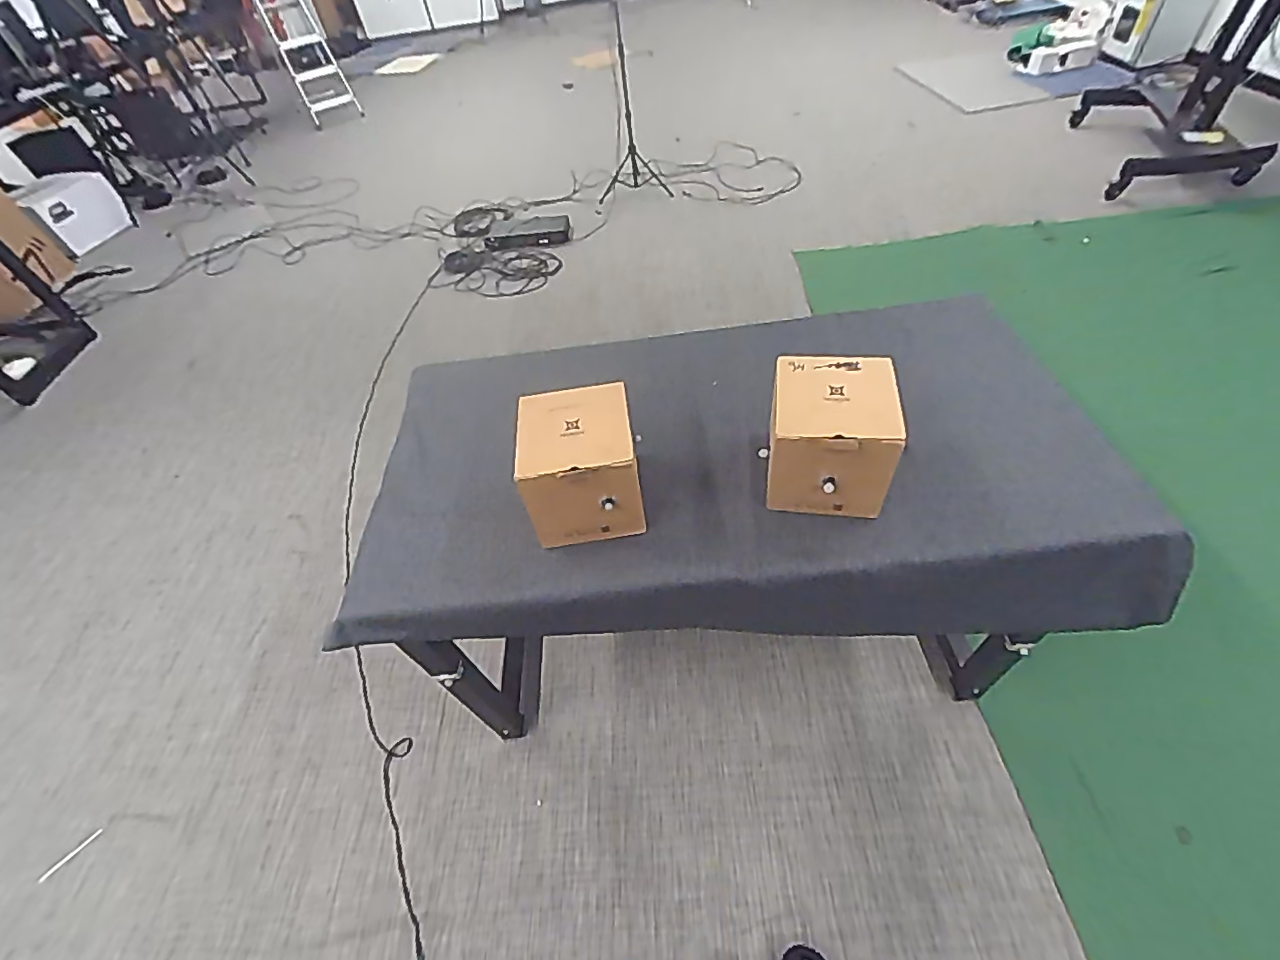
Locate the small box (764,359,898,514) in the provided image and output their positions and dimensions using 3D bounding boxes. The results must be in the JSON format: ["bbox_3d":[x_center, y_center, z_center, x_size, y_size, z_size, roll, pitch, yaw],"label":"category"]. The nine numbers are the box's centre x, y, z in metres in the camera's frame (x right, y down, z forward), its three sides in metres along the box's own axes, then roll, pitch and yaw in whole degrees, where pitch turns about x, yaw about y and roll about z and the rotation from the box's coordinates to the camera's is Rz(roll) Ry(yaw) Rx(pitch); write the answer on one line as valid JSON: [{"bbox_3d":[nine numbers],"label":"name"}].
[{"bbox_3d":[0.282,-0.065,0.831,0.168,0.176,0.179,4,51,11],"label":"small box"}]

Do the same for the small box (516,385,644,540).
[{"bbox_3d":[-0.089,-0.021,0.847,0.168,0.176,0.179,-8,47,-1],"label":"small box"}]
